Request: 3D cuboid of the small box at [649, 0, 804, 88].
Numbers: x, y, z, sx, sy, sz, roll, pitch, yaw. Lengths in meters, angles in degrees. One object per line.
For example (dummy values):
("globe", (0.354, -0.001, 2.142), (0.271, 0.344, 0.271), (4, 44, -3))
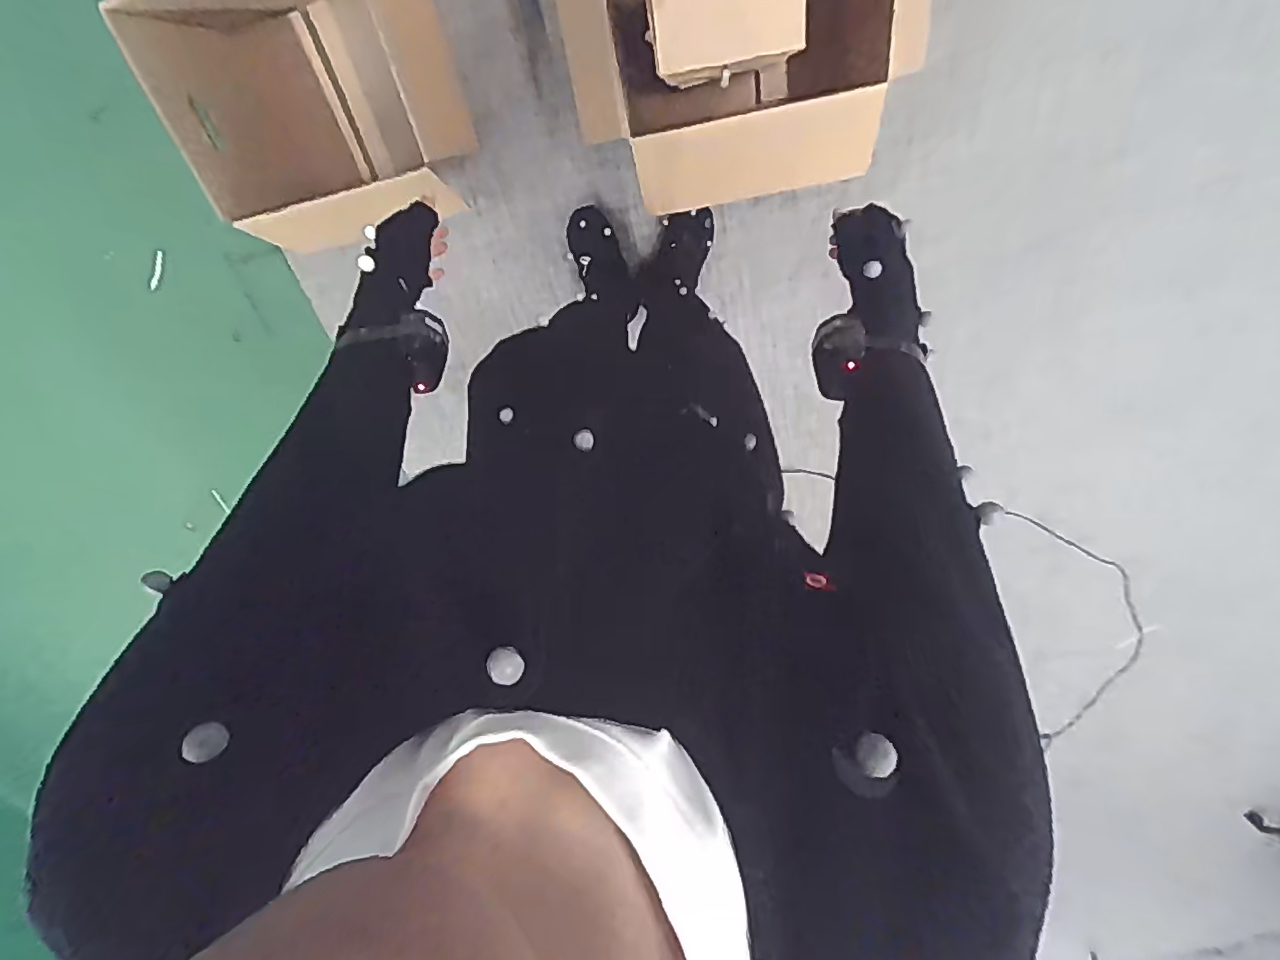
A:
("small box", (0.103, -0.606, 0.676), (0.179, 0.176, 0.168), (-6, 125, 10))
